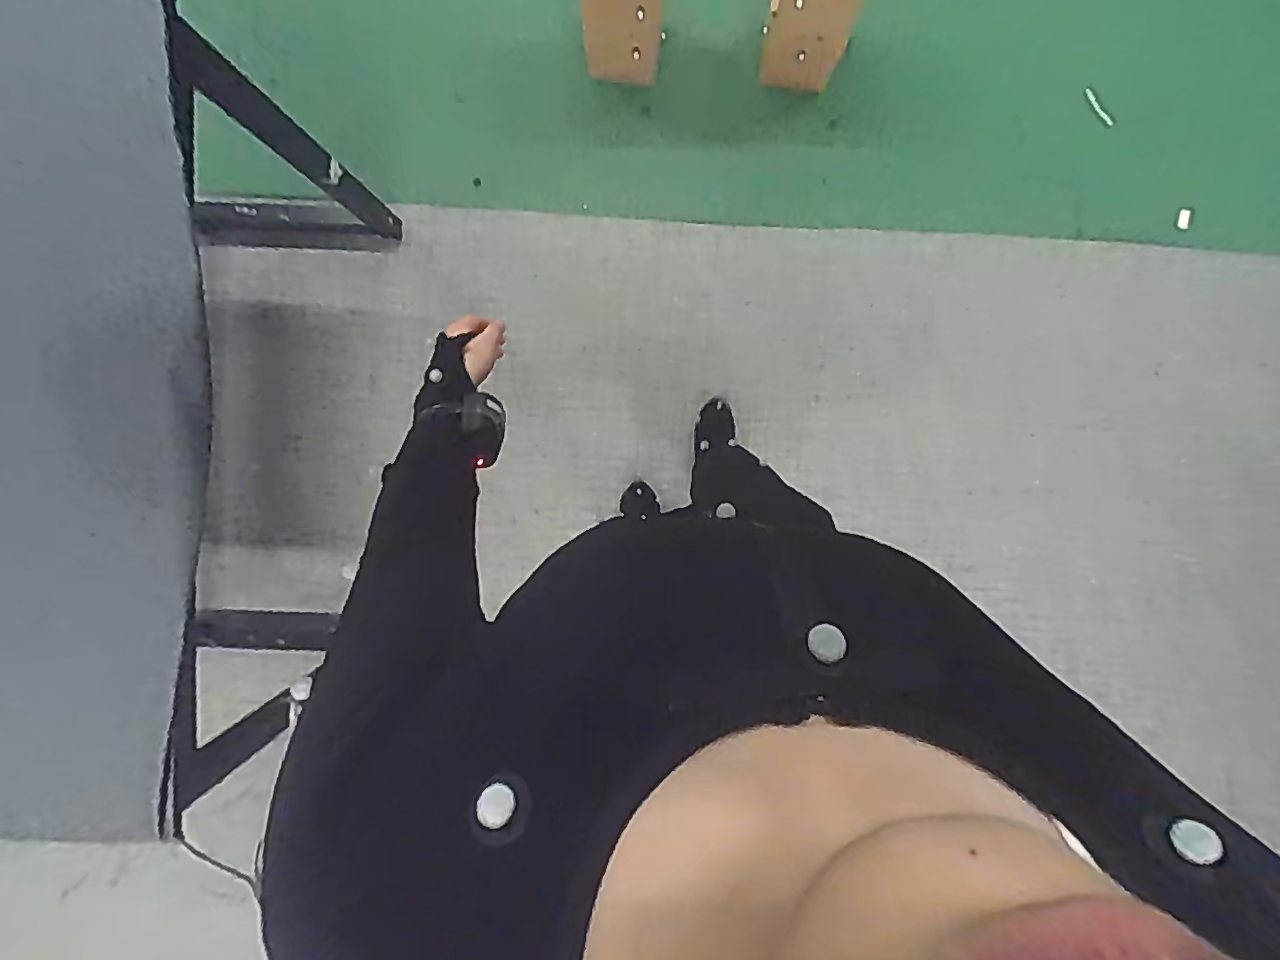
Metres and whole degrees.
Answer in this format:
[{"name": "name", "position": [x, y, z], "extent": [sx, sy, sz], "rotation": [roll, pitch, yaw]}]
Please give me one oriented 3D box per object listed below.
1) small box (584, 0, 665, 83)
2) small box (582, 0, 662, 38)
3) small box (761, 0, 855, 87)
[{"name": "small box", "position": [-0.033, -1.123, 1.332], "extent": [0.179, 0.176, 0.168], "rotation": [9, 93, 0]}, {"name": "small box", "position": [-0.037, -1.102, 1.170], "extent": [0.179, 0.176, 0.168], "rotation": [1, 93, 1]}, {"name": "small box", "position": [0.410, -1.109, 1.329], "extent": [0.179, 0.176, 0.168], "rotation": [7, 94, 1]}]
